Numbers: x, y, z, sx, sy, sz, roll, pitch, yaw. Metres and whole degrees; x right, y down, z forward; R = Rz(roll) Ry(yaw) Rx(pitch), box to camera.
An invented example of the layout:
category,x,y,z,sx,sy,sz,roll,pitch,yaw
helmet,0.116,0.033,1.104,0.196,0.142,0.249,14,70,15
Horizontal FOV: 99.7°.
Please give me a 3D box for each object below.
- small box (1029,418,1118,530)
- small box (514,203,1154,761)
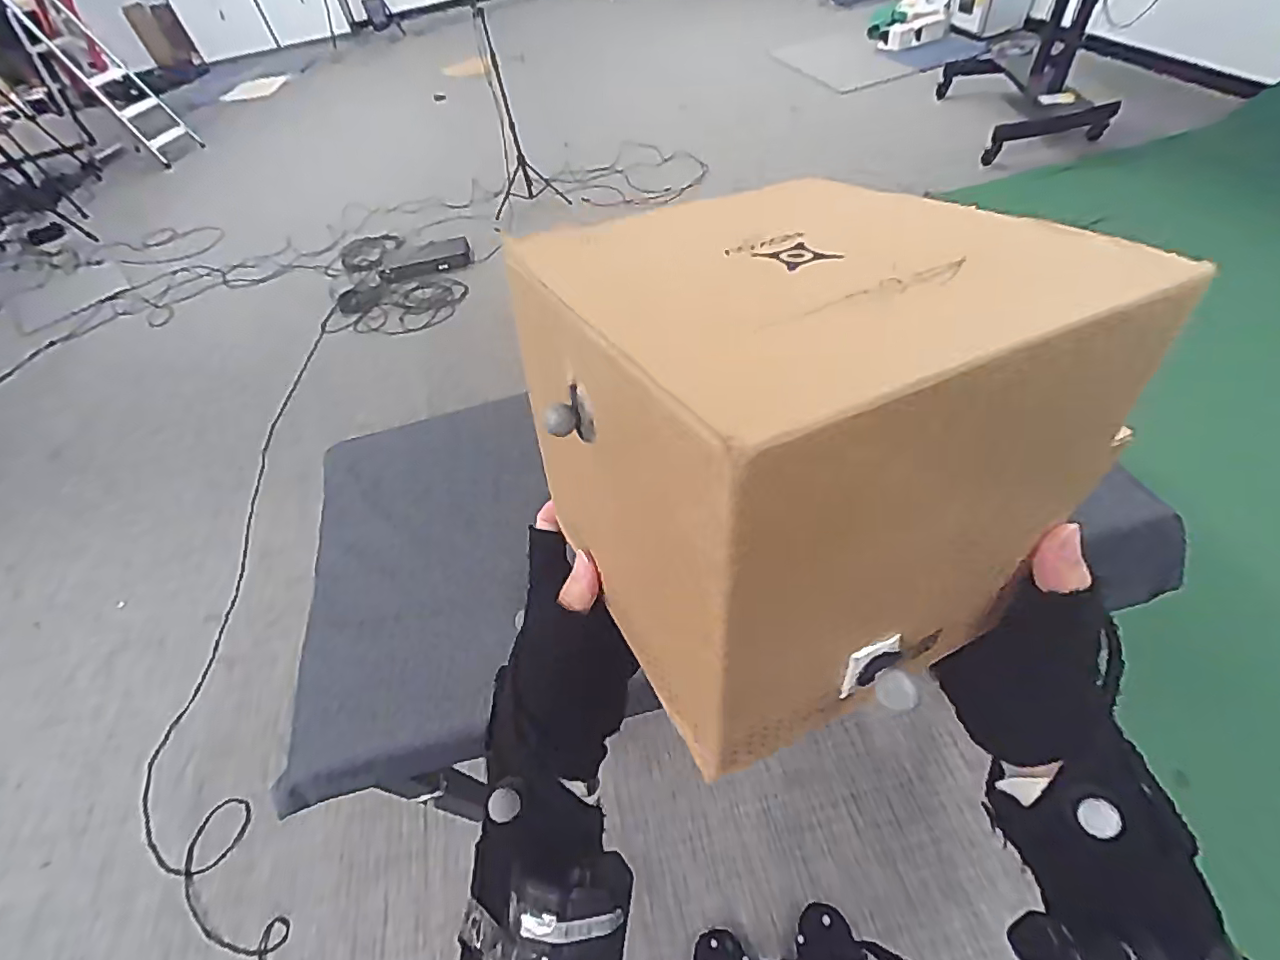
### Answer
category,x,y,z,sx,sy,sz,roll,pitch,yaw
small box,0.476,-0.026,0.744,0.168,0.176,0.179,-19,49,-5
small box,0.057,-0.014,0.255,0.168,0.176,0.179,-22,42,-19
